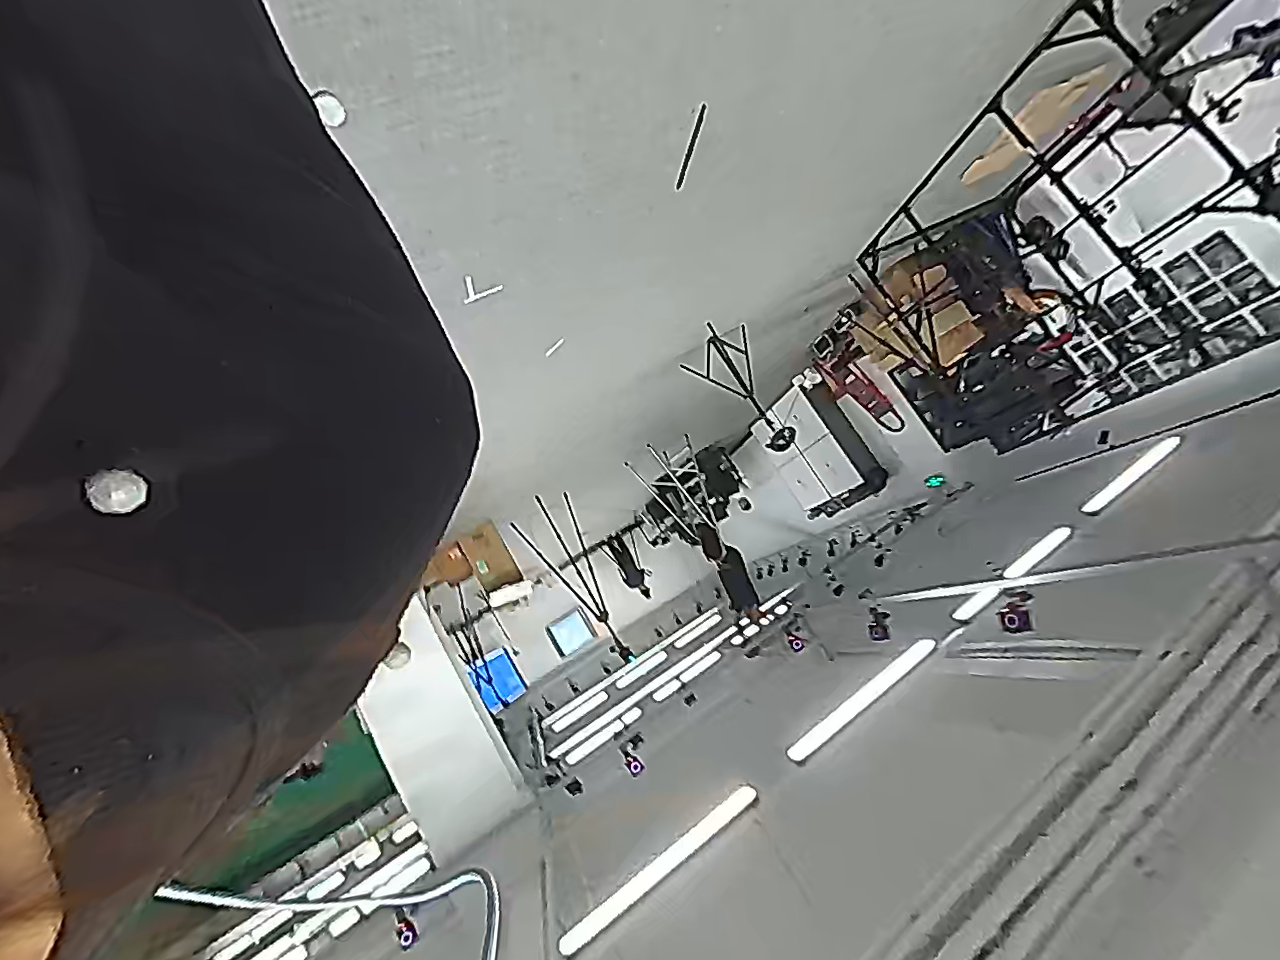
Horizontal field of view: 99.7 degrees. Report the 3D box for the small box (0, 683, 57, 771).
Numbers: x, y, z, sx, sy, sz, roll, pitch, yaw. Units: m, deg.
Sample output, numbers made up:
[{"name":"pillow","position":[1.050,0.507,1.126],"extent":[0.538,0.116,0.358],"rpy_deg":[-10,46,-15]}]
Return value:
[{"name":"small box","position":[-1.608,0.620,1.314],"extent":[0.179,0.176,0.168],"rpy_deg":[-30,171,-11]}]
